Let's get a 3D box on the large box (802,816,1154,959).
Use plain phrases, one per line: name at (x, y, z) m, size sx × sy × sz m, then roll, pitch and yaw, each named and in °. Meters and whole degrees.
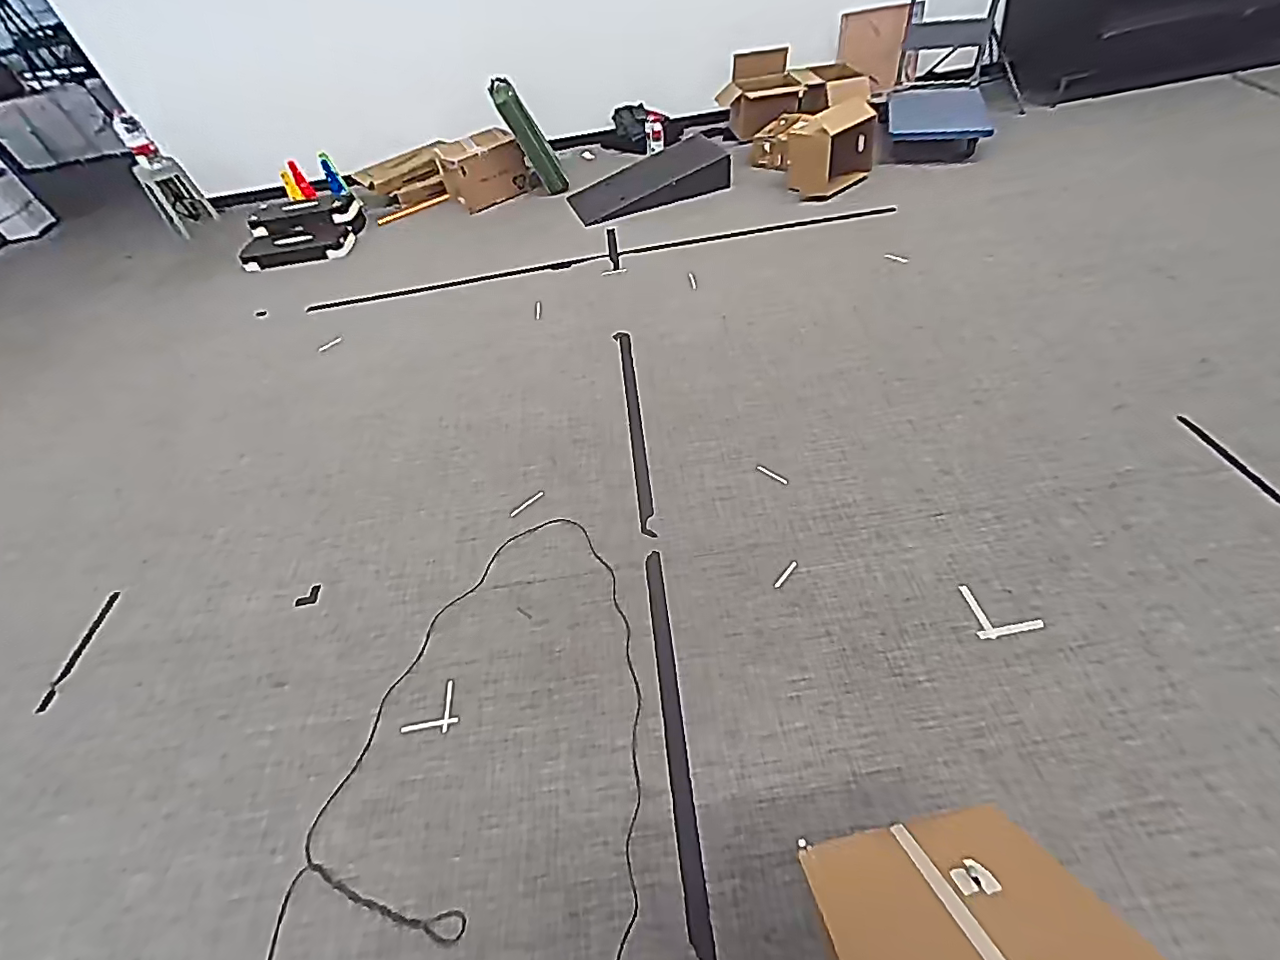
large box at (0.432, 0.692, 0.634) m, size 0.320 × 0.408 × 0.320 m, roll -13°, pitch 87°, yaw 1°
